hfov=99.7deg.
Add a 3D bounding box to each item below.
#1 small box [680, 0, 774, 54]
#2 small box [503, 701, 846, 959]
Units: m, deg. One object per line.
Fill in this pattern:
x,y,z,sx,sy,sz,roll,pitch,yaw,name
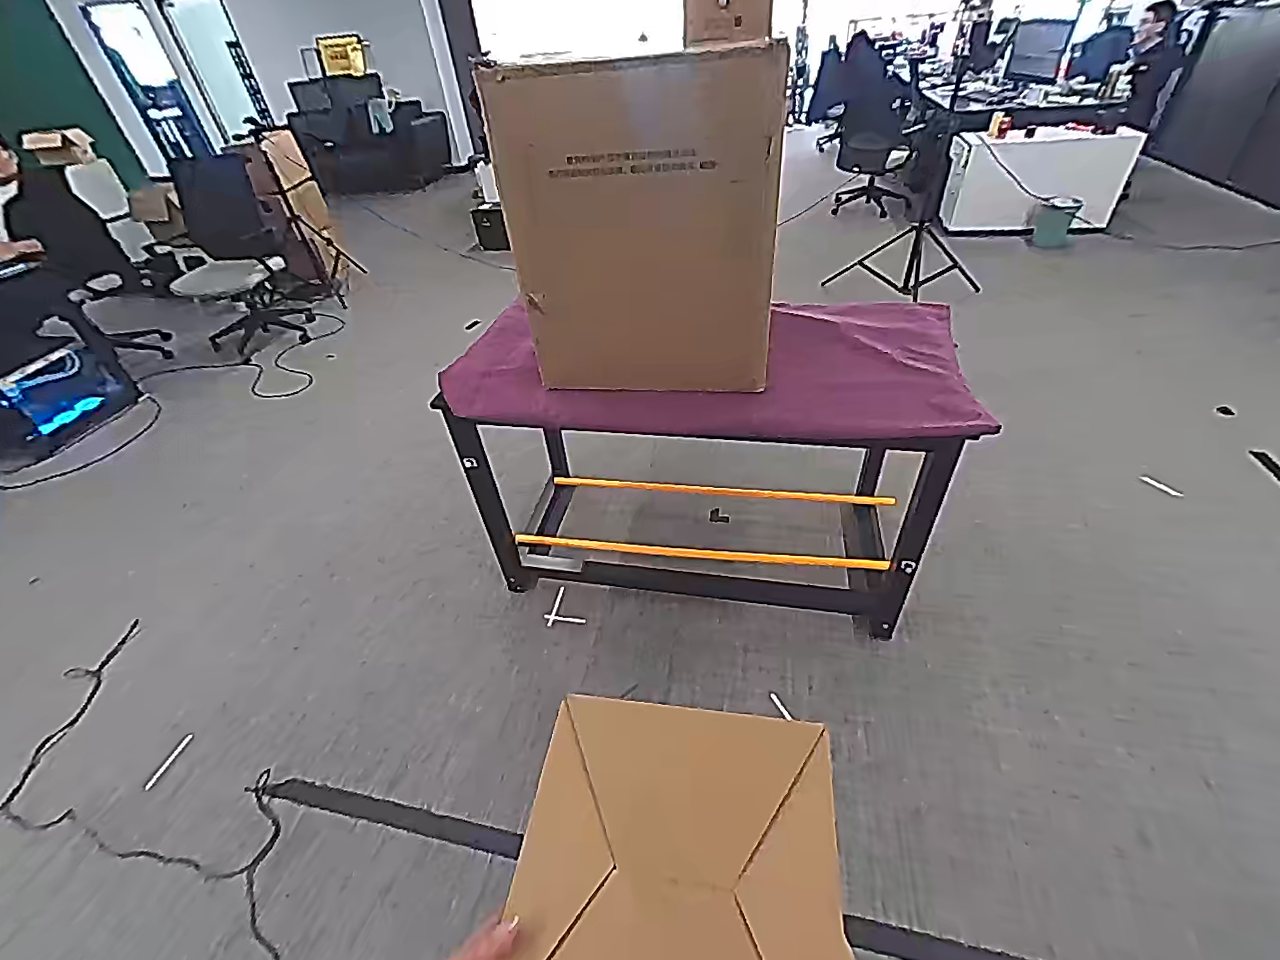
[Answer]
0.167,-0.913,1.014,0.168,0.176,0.179,3,41,12,small box
0.027,0.264,0.335,0.168,0.176,0.179,2,45,11,small box
